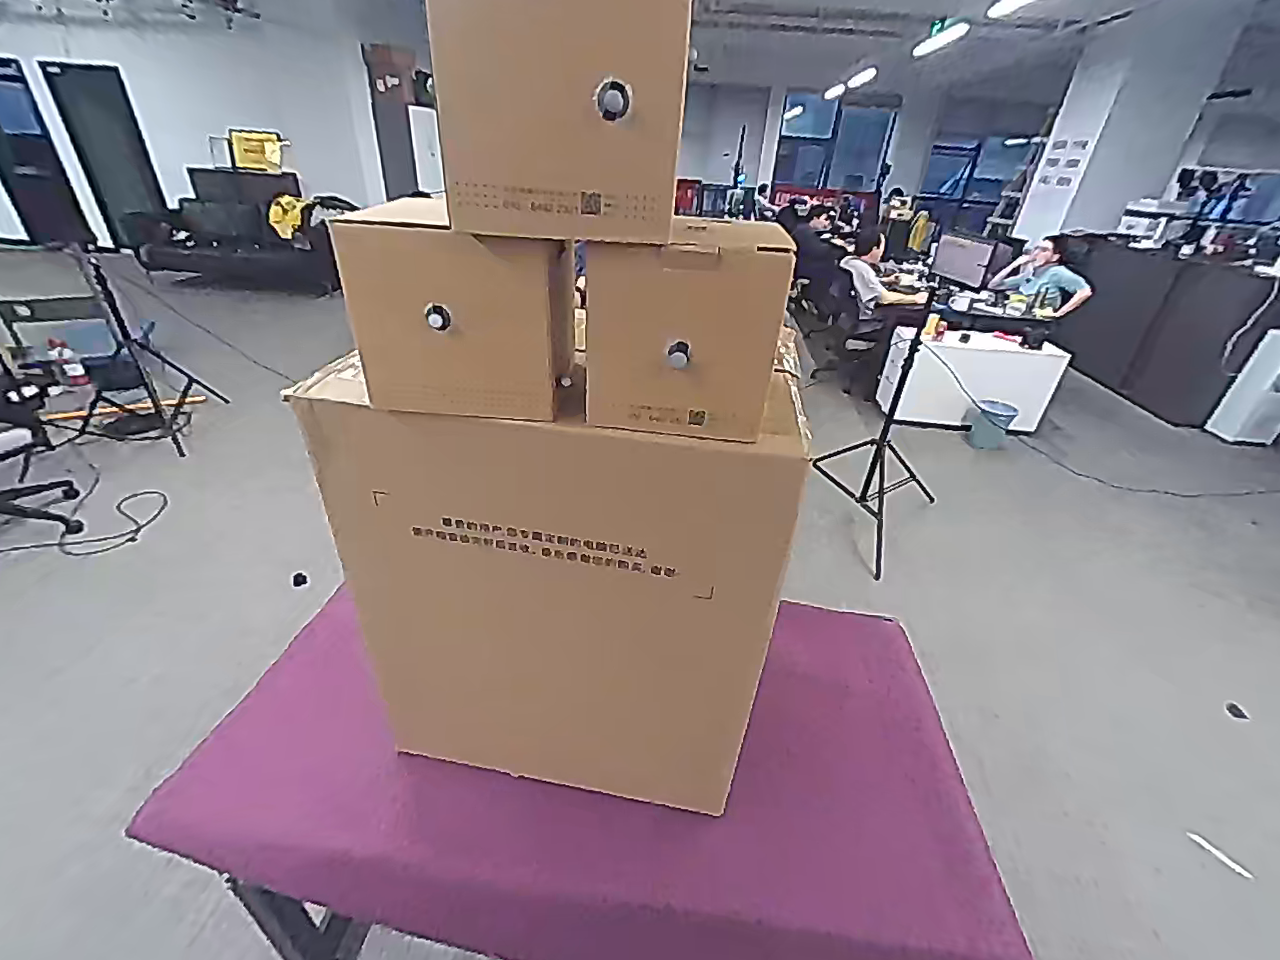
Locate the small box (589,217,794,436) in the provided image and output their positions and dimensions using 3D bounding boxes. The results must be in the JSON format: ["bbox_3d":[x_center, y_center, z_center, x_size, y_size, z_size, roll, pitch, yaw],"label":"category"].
[{"bbox_3d":[0.048,-0.157,0.537,0.168,0.176,0.179,7,33,4],"label":"small box"}]

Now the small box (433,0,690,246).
[{"bbox_3d":[-0.054,-0.294,0.439,0.168,0.176,0.179,2,31,-4],"label":"small box"}]

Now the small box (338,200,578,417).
[{"bbox_3d":[-0.157,-0.172,0.540,0.179,0.176,0.168,3,32,0],"label":"small box"}]
